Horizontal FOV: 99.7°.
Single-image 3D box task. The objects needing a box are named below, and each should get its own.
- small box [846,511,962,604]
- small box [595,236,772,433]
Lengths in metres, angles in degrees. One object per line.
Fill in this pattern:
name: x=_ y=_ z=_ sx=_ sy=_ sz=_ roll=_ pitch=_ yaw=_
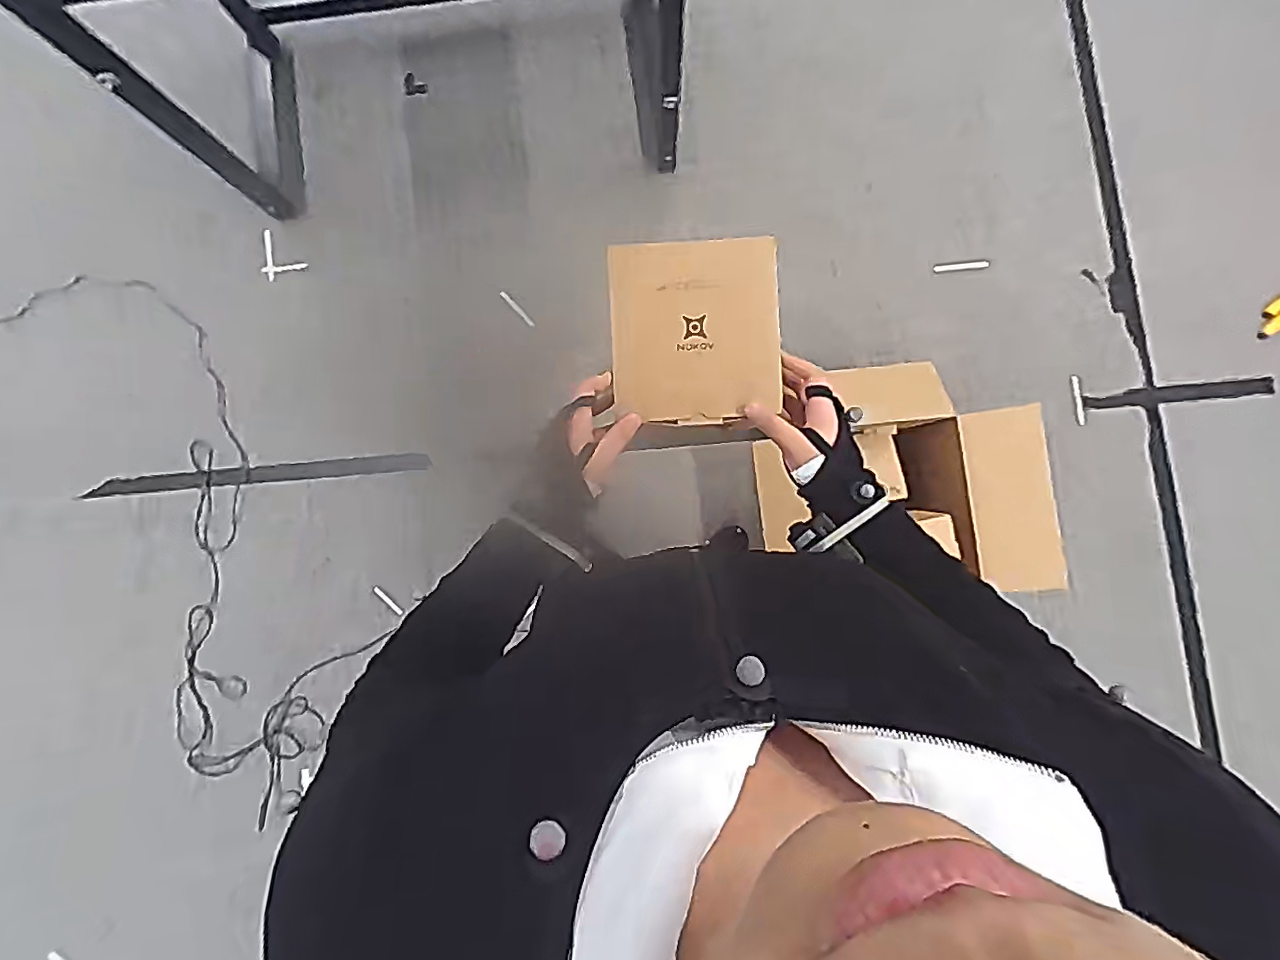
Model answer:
small box: x=0.585 y=0.170 z=1.227 sx=0.179 sy=0.176 sz=0.168 roll=-12 pitch=90 yaw=1
small box: x=0.043 y=-0.146 z=0.603 sx=0.168 sy=0.176 sz=0.179 roll=-4 pitch=91 yaw=0
